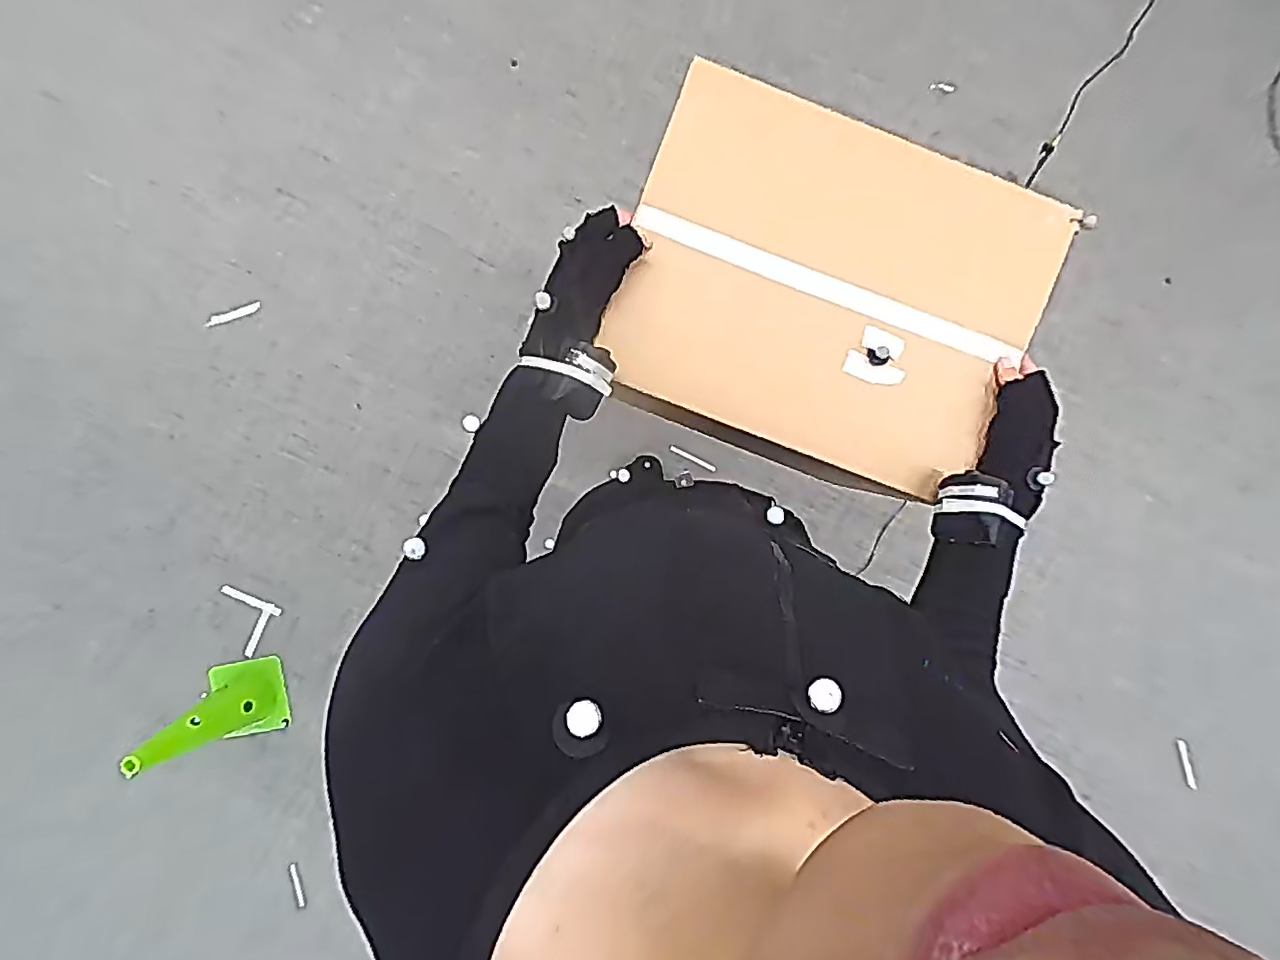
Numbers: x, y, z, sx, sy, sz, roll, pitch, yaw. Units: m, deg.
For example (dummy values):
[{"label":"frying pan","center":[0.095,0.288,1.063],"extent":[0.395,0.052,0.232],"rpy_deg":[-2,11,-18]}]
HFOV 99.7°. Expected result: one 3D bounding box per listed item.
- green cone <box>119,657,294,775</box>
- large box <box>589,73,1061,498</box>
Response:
[{"label":"green cone","center":[-1.068,0.597,1.315],"extent":[0.202,0.368,0.200],"rpy_deg":[-12,89,2]},{"label":"large box","center":[0.179,-0.197,0.685],"extent":[0.408,0.320,0.320],"rpy_deg":[20,94,-2]}]
